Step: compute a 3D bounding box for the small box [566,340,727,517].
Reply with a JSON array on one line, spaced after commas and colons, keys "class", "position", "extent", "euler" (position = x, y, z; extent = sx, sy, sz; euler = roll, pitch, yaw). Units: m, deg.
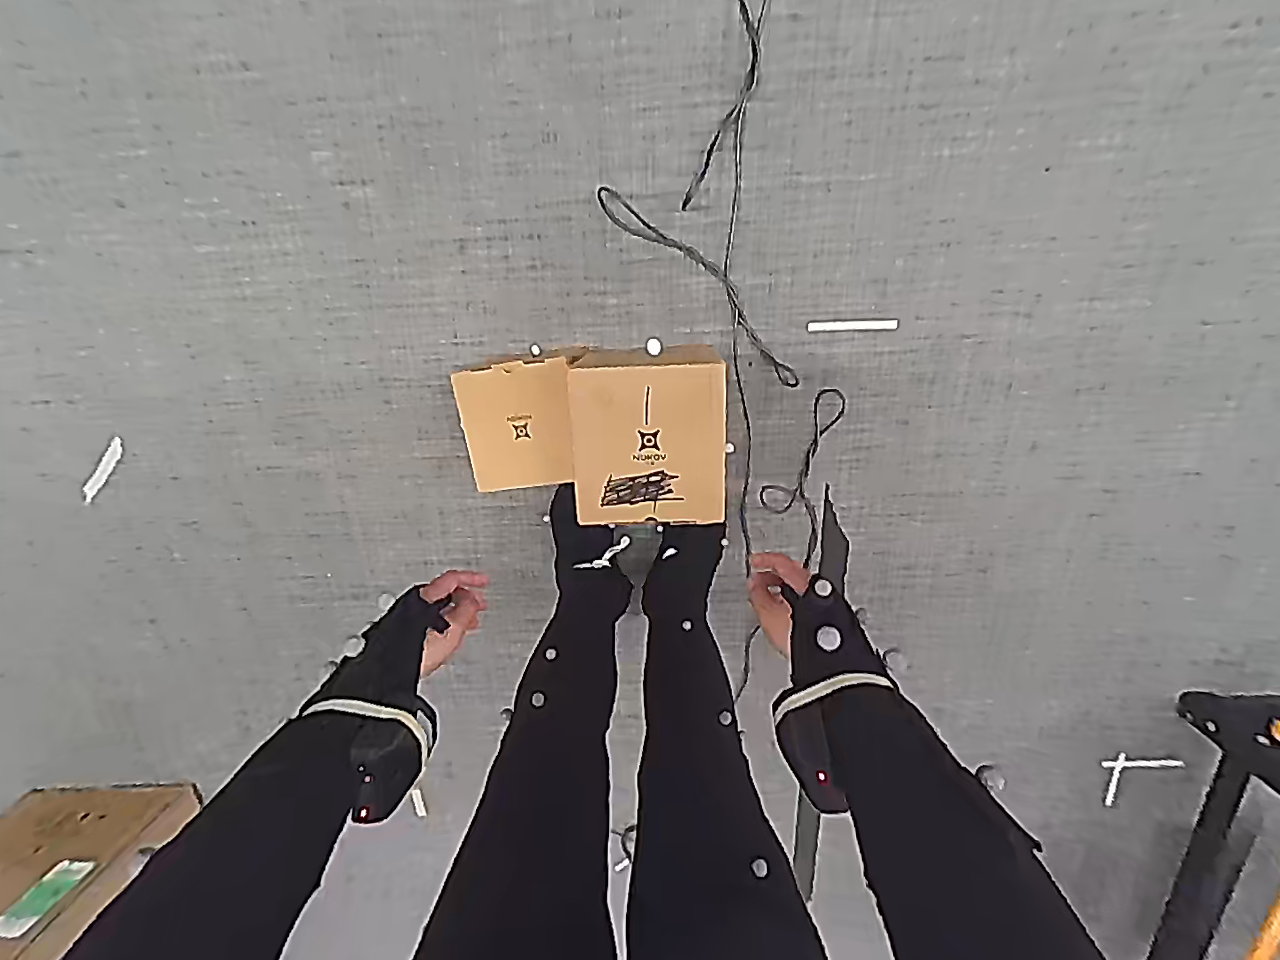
[{"class": "small box", "position": [0.012, -0.068, 0.643], "extent": [0.168, 0.176, 0.179], "euler": [-2, 108, 3]}]
